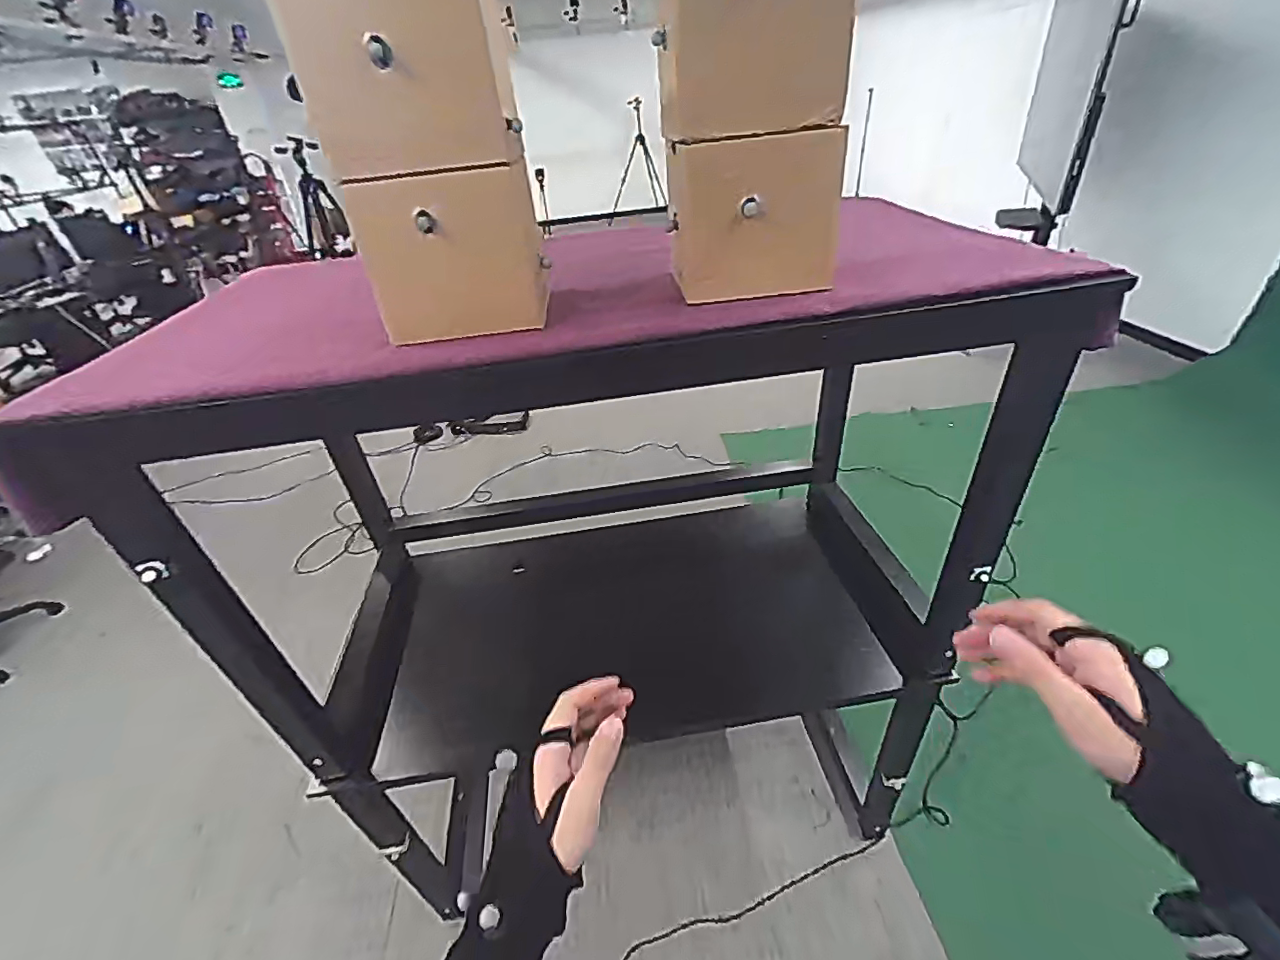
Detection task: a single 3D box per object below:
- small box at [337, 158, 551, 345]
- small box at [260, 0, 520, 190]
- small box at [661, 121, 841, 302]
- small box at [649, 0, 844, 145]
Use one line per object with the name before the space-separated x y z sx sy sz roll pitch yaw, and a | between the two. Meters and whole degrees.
small box | -0.213 -0.271 0.643 0.179 0.176 0.168 -8 35 -1
small box | -0.229 -0.404 0.549 0.179 0.176 0.168 -9 35 0
small box | 0.128 -0.328 0.662 0.179 0.176 0.168 -8 36 1
small box | 0.106 -0.461 0.569 0.179 0.176 0.168 -6 35 1
